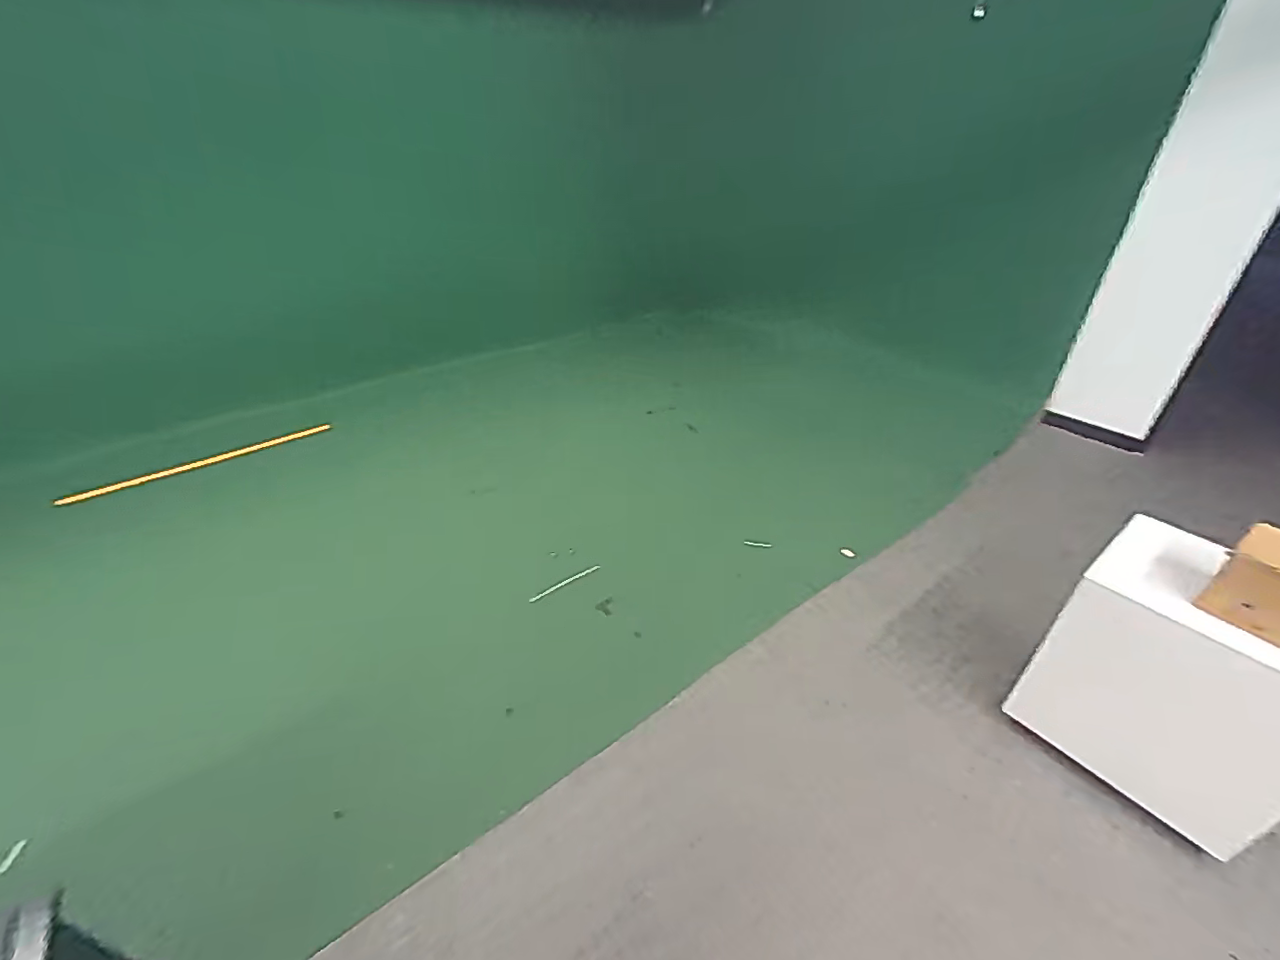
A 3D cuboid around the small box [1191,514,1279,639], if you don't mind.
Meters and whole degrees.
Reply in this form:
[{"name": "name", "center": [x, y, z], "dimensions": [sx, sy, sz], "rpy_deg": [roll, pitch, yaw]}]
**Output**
[{"name": "small box", "center": [1.355, 0.207, 1.167], "dimensions": [0.179, 0.176, 0.168], "rpy_deg": [-23, 40, -29]}]
